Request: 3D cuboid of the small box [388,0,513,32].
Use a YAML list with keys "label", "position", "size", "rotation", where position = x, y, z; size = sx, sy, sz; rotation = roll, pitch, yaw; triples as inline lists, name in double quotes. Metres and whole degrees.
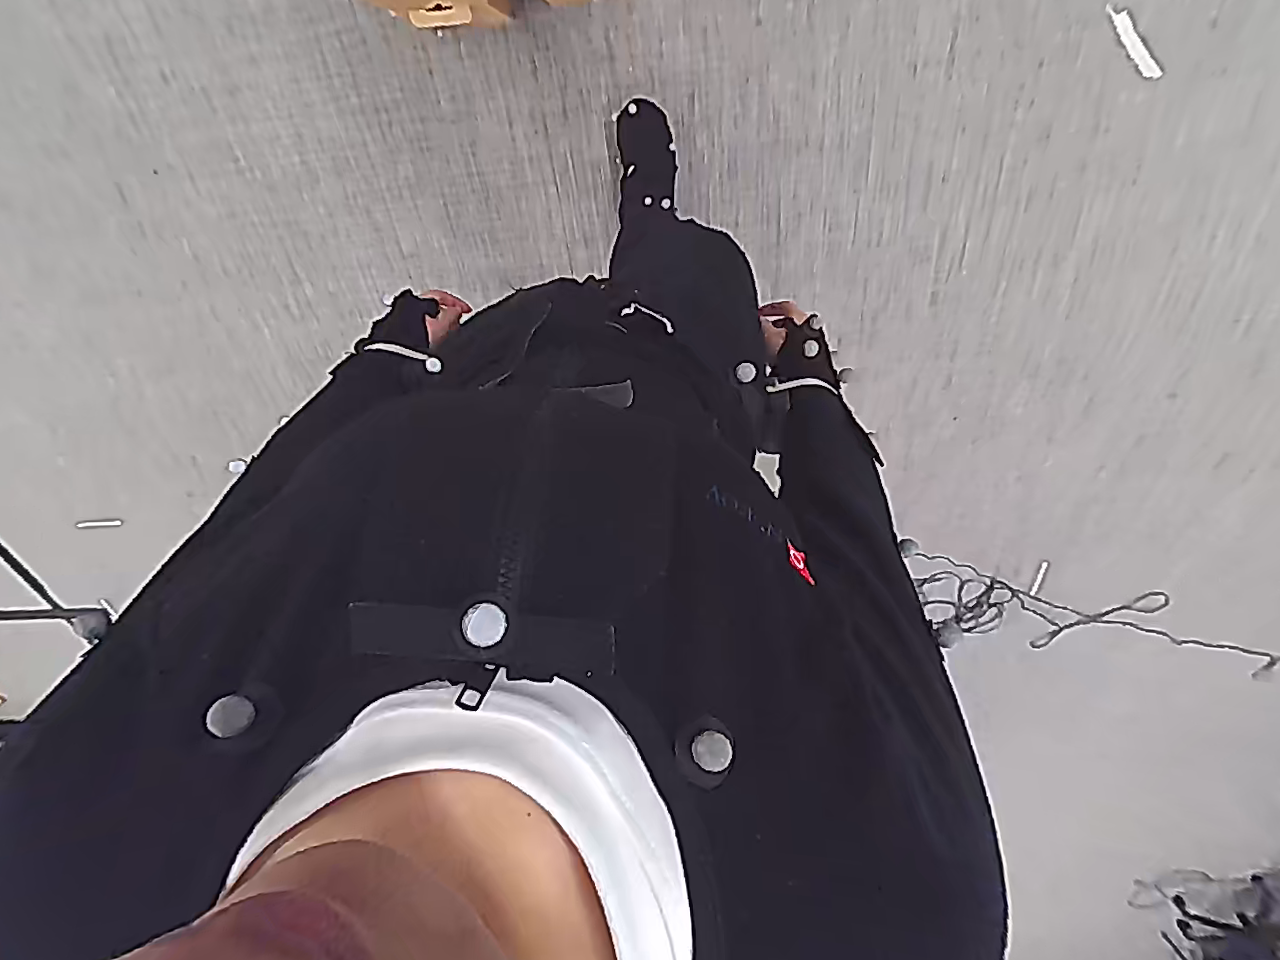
- label: "small box"
  position: [-0.317, -0.854, 0.881]
  size: [0.168, 0.176, 0.179]
  rotation: [-2, 122, 4]
